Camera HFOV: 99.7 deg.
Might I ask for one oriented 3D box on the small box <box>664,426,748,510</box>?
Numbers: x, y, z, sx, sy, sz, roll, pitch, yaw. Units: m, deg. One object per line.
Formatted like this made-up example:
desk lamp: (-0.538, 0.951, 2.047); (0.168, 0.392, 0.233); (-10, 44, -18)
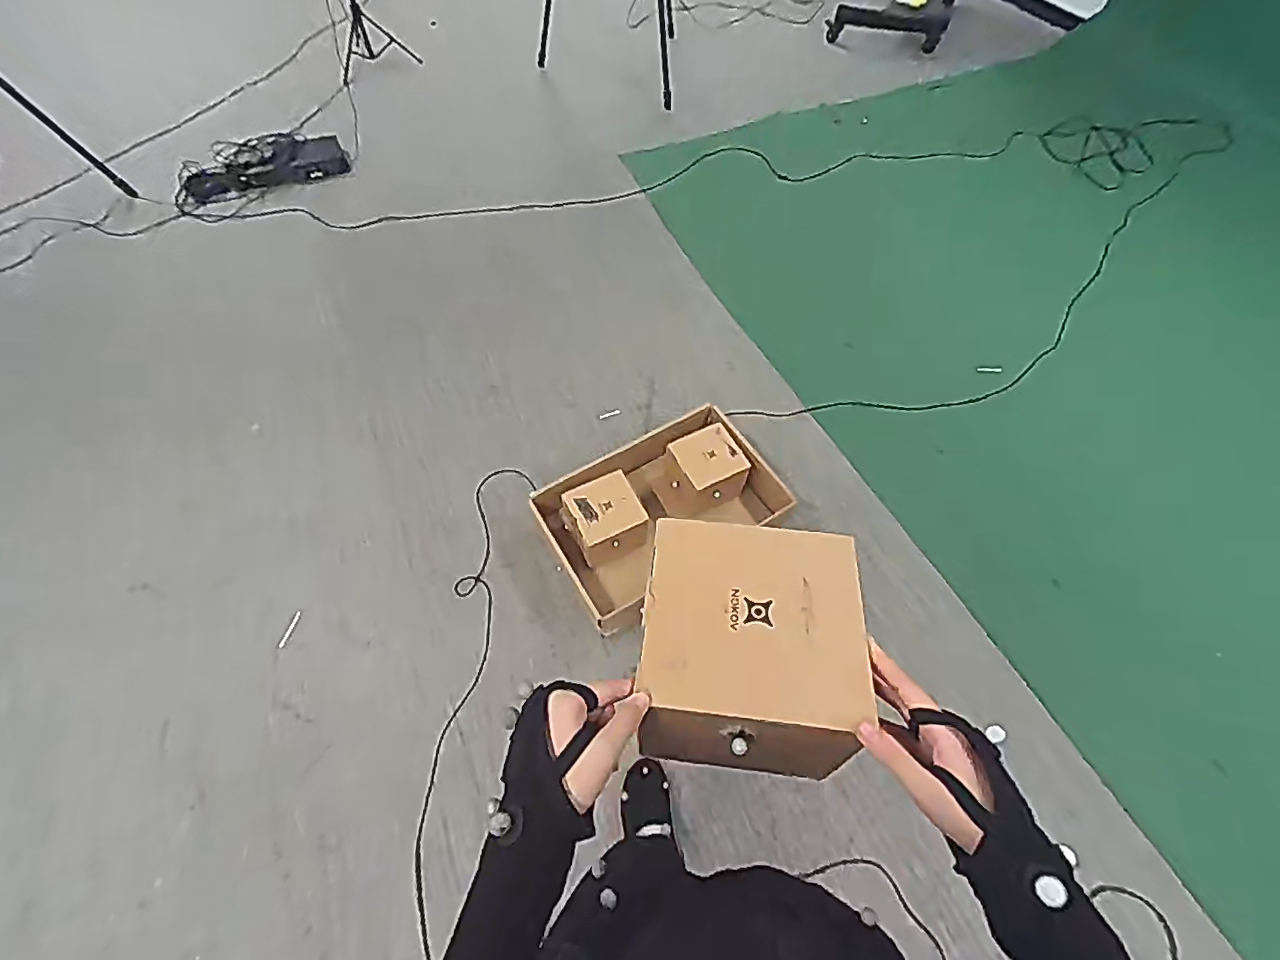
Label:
small box: (0.178, -0.019, 1.534); (0.179, 0.176, 0.168); (-23, 64, -14)

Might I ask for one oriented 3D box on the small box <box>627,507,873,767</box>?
small box: (0.089, 0.145, 0.491); (0.179, 0.176, 0.168); (6, 52, 6)
